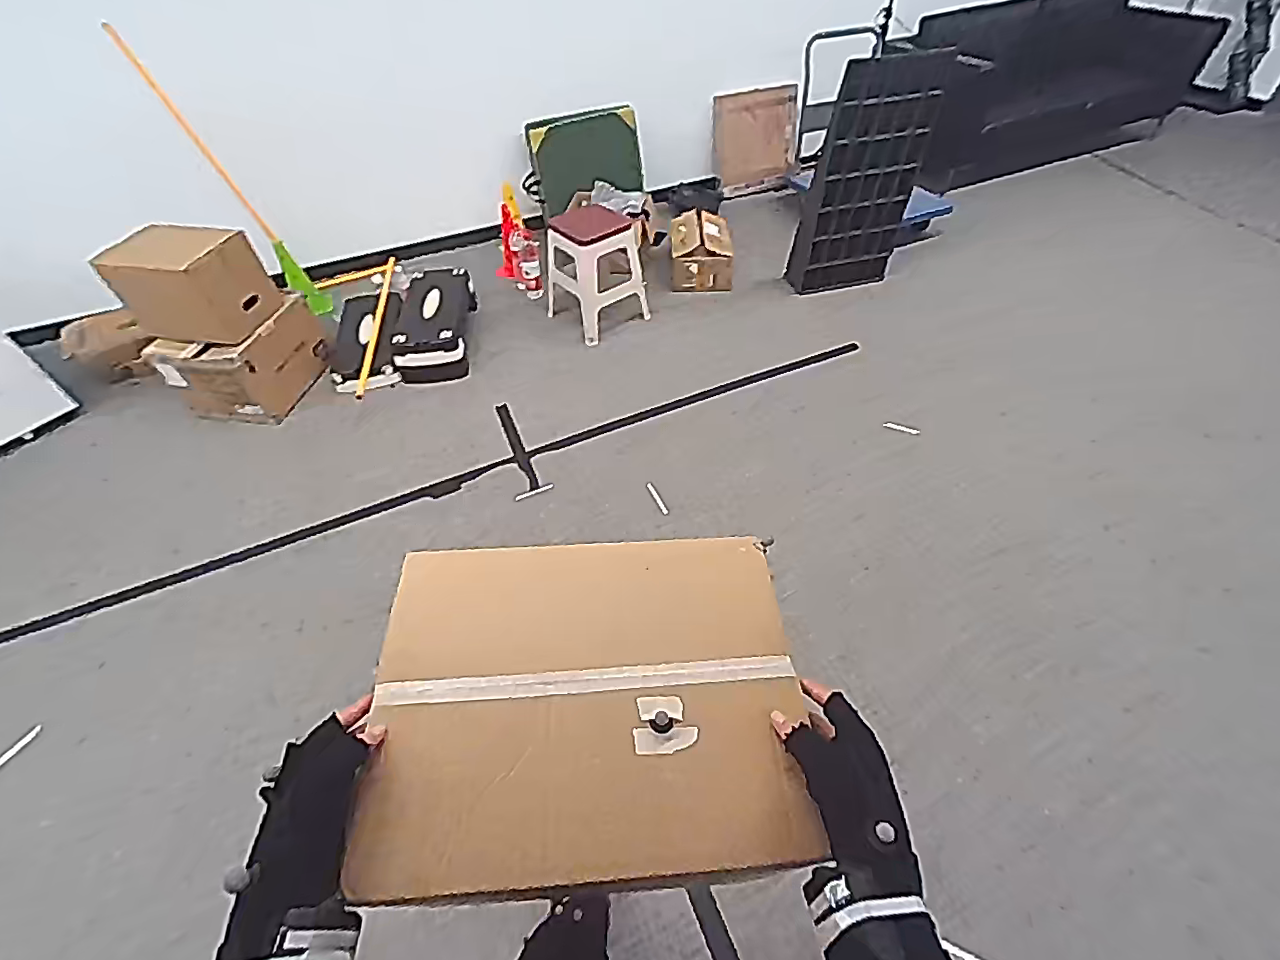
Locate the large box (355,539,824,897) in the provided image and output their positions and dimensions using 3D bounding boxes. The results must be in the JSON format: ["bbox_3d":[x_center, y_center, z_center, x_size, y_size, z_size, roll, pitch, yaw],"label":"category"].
[{"bbox_3d":[-0.053,0.291,0.659,0.408,0.320,0.320,-2,51,-4],"label":"large box"}]
